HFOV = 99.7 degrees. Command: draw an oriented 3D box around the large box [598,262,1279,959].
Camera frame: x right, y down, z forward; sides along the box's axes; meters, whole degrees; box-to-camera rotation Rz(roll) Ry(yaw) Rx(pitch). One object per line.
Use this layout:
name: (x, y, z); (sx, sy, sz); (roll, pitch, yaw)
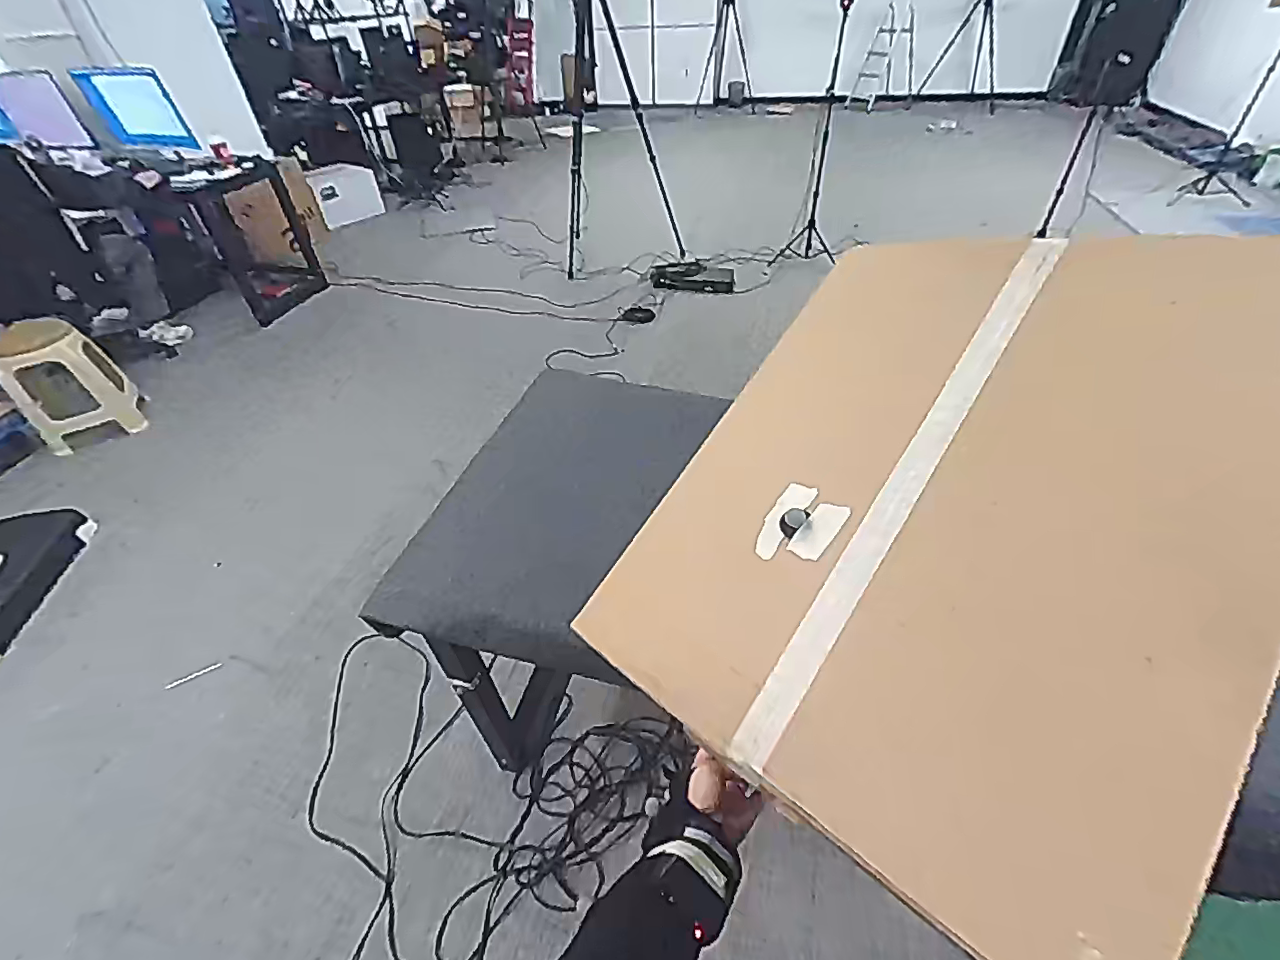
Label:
large box: (0.249, 0.085, 0.444); (0.320, 0.320, 0.408); (22, 71, 43)
